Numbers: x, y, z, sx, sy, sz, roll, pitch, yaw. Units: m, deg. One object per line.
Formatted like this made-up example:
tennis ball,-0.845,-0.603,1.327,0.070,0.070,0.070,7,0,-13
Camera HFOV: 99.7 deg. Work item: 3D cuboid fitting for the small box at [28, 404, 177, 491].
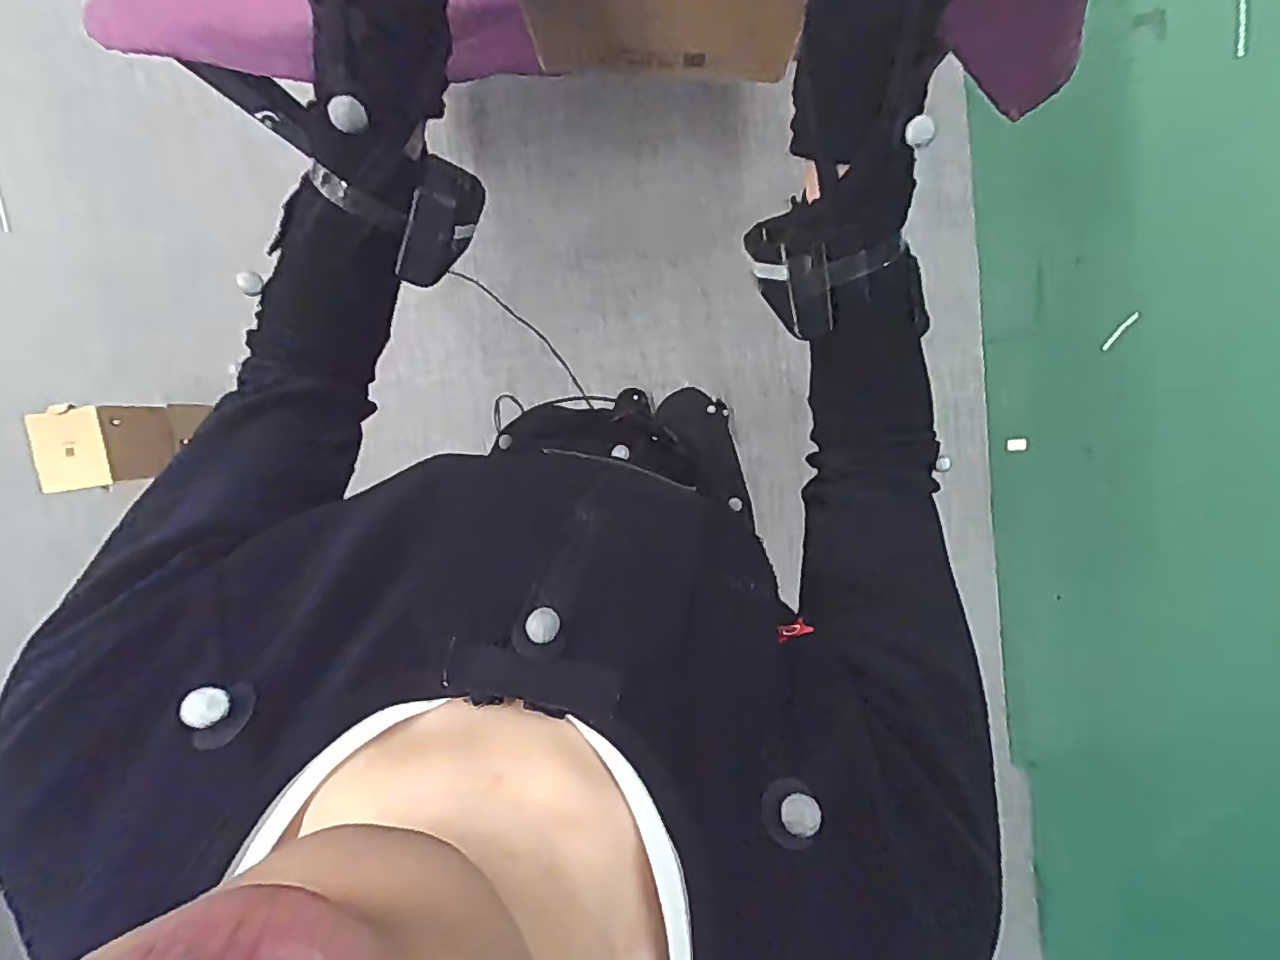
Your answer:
small box,-1.234,-0.080,1.257,0.168,0.176,0.179,-8,95,3

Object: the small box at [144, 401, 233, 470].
small box,-1.227,-0.110,1.418,0.179,0.176,0.168,-8,96,4
